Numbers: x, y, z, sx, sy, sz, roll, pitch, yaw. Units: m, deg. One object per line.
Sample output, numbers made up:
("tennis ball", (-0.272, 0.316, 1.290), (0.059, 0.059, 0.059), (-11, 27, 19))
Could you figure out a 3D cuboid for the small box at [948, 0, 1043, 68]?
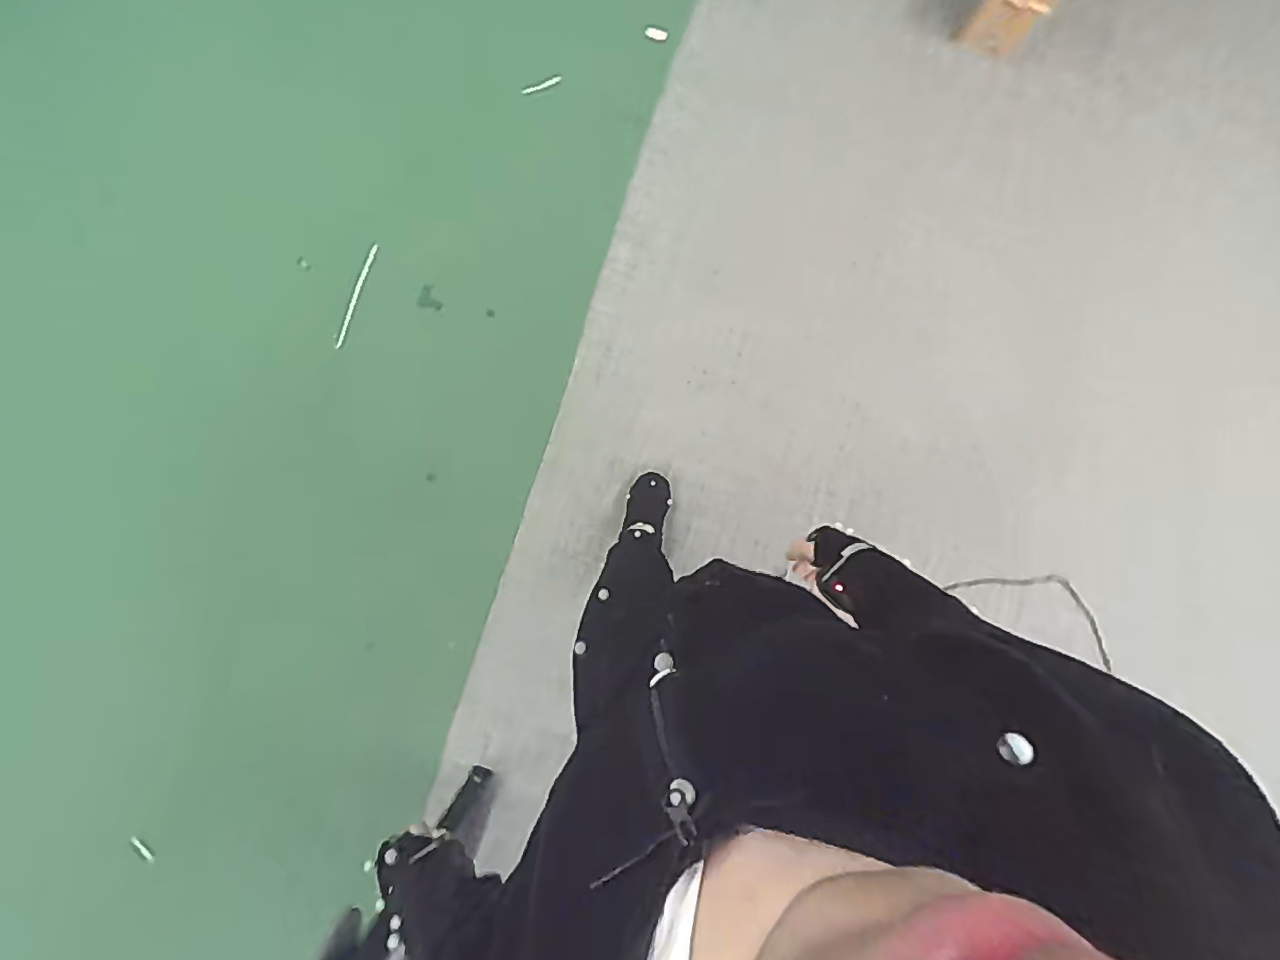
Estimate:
("small box", (1.023, -1.345, 1.545), (0.168, 0.176, 0.179), (22, 87, 1))
